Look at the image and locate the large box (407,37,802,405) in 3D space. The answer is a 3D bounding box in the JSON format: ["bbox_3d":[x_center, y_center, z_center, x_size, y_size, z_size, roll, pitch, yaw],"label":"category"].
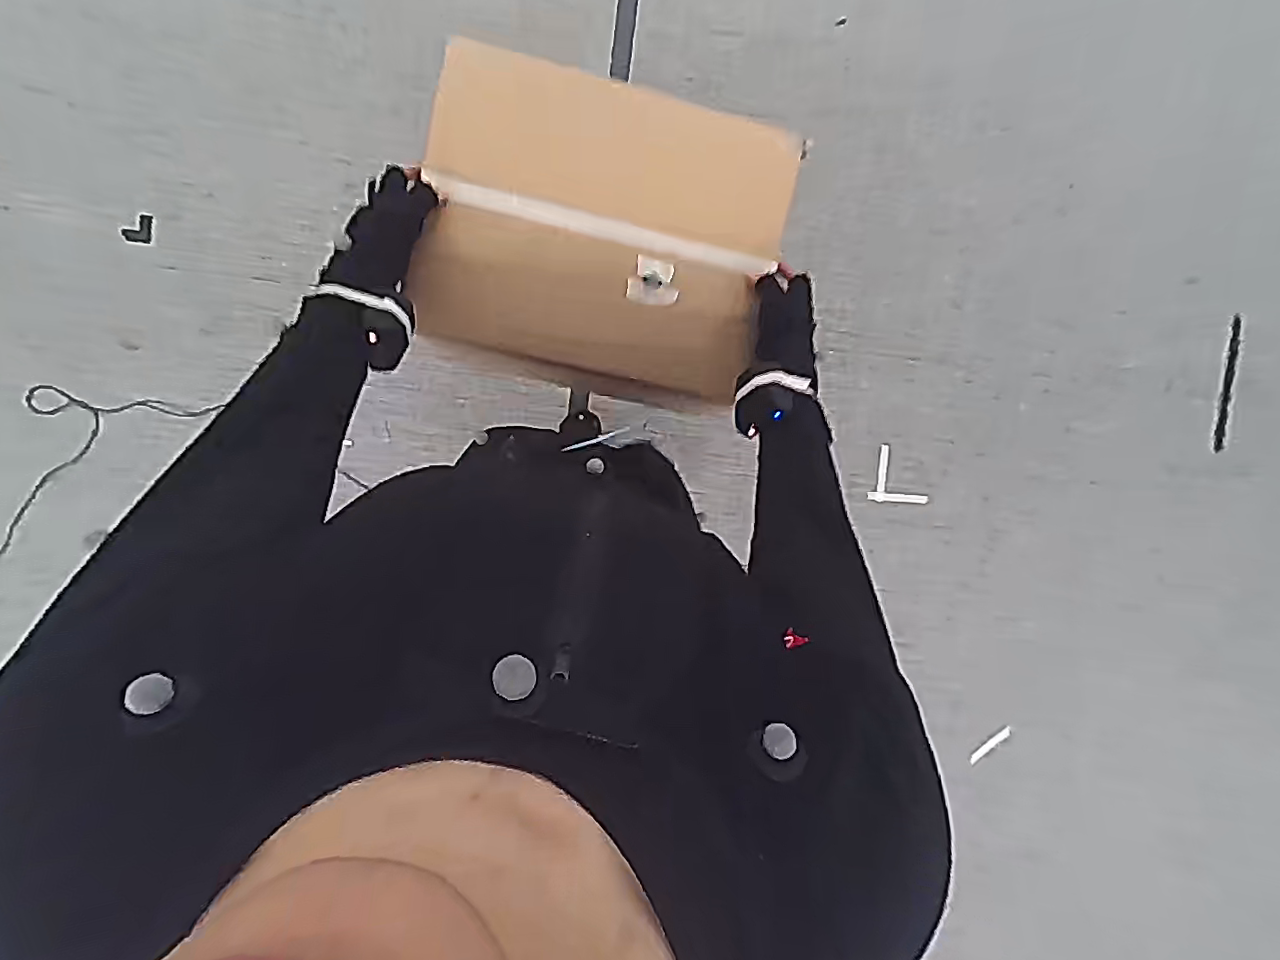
[{"bbox_3d":[-0.052,-0.302,0.756,0.408,0.320,0.320,12,95,-7],"label":"large box"}]
